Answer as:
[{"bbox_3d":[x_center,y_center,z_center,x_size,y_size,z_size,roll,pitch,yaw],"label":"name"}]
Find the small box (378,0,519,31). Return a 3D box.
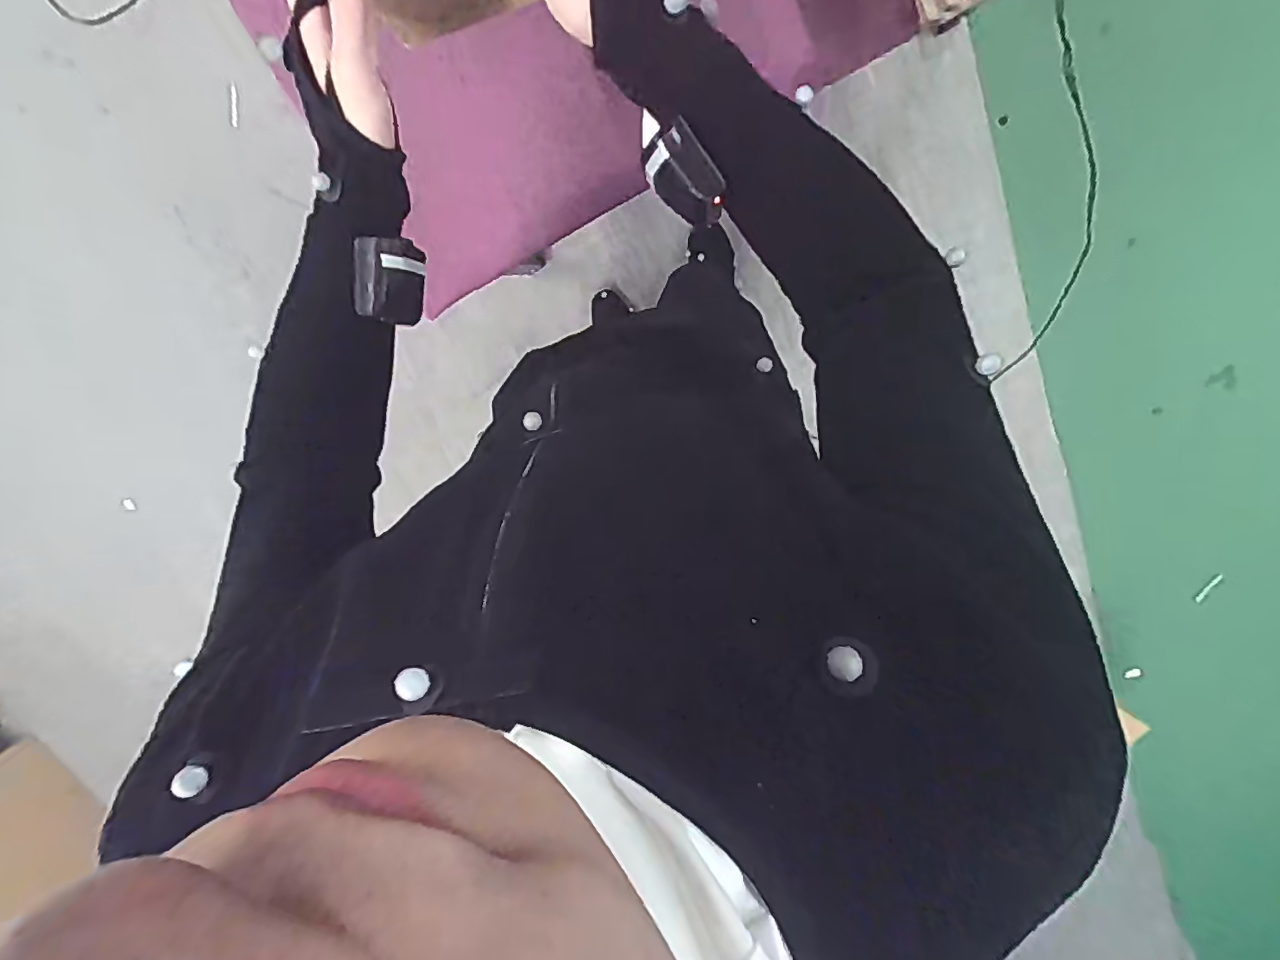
[{"bbox_3d":[-0.165,-0.488,0.403,0.168,0.176,0.179,-16,99,6],"label":"small box"}]
